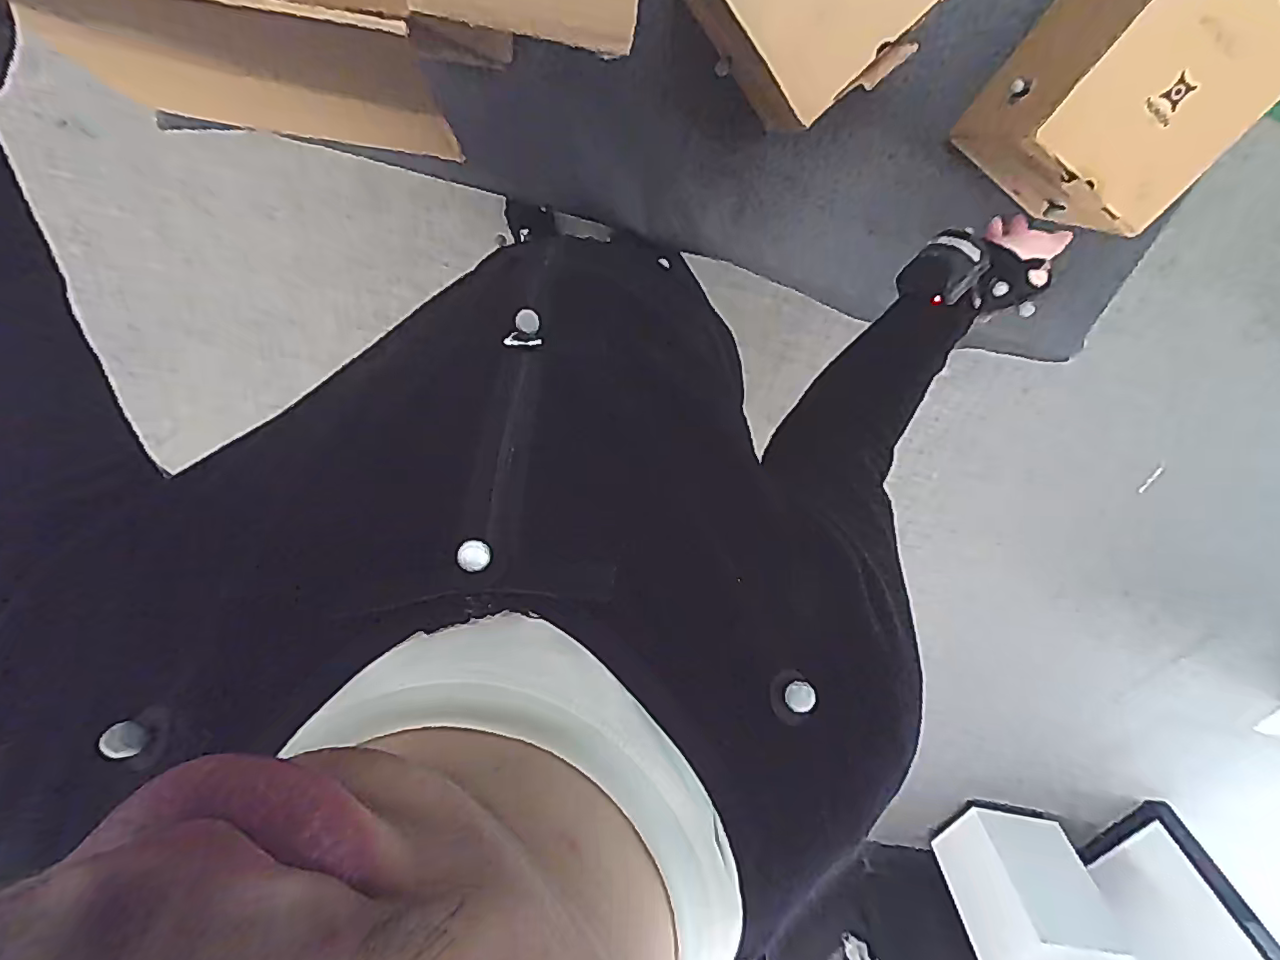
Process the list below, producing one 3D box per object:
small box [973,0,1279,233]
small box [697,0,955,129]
[{"bbox_3d":[0.480,-0.386,0.549,0.168,0.176,0.179,27,118,-16],"label":"small box"},{"bbox_3d":[0.163,-0.468,0.504,0.168,0.176,0.179,-36,115,22],"label":"small box"}]
